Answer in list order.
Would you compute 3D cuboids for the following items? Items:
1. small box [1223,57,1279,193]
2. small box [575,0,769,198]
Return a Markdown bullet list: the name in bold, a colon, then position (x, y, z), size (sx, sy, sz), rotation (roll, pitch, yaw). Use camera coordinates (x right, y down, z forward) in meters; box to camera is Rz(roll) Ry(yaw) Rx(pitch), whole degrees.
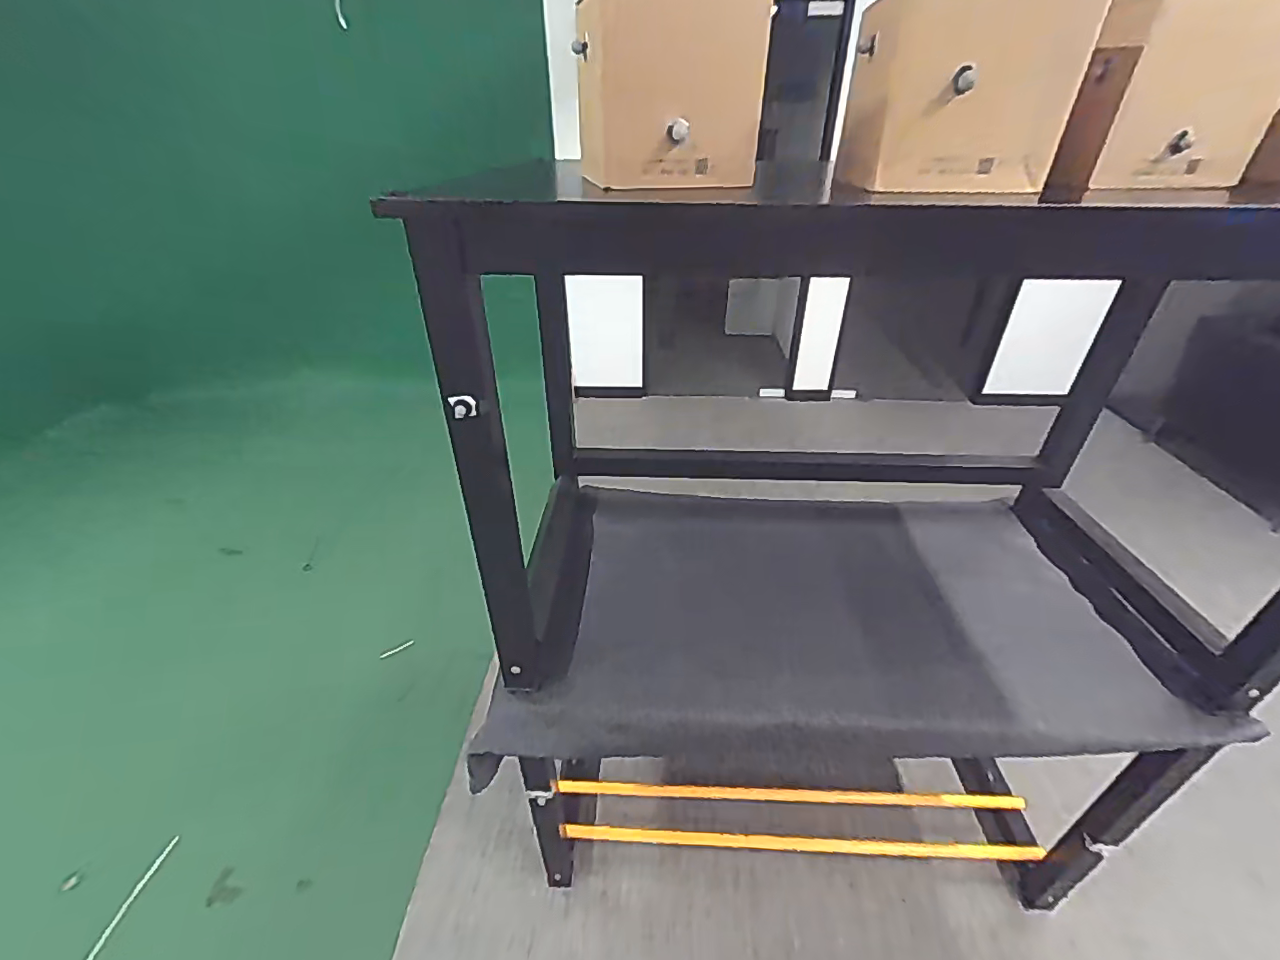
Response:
- **small box**: position (0.786, -0.388, 0.554), size (0.168, 0.176, 0.179), rotation (8, 34, 11)
- **small box**: position (0.021, -0.416, 0.596), size (0.168, 0.176, 0.179), rotation (-7, 35, -11)
